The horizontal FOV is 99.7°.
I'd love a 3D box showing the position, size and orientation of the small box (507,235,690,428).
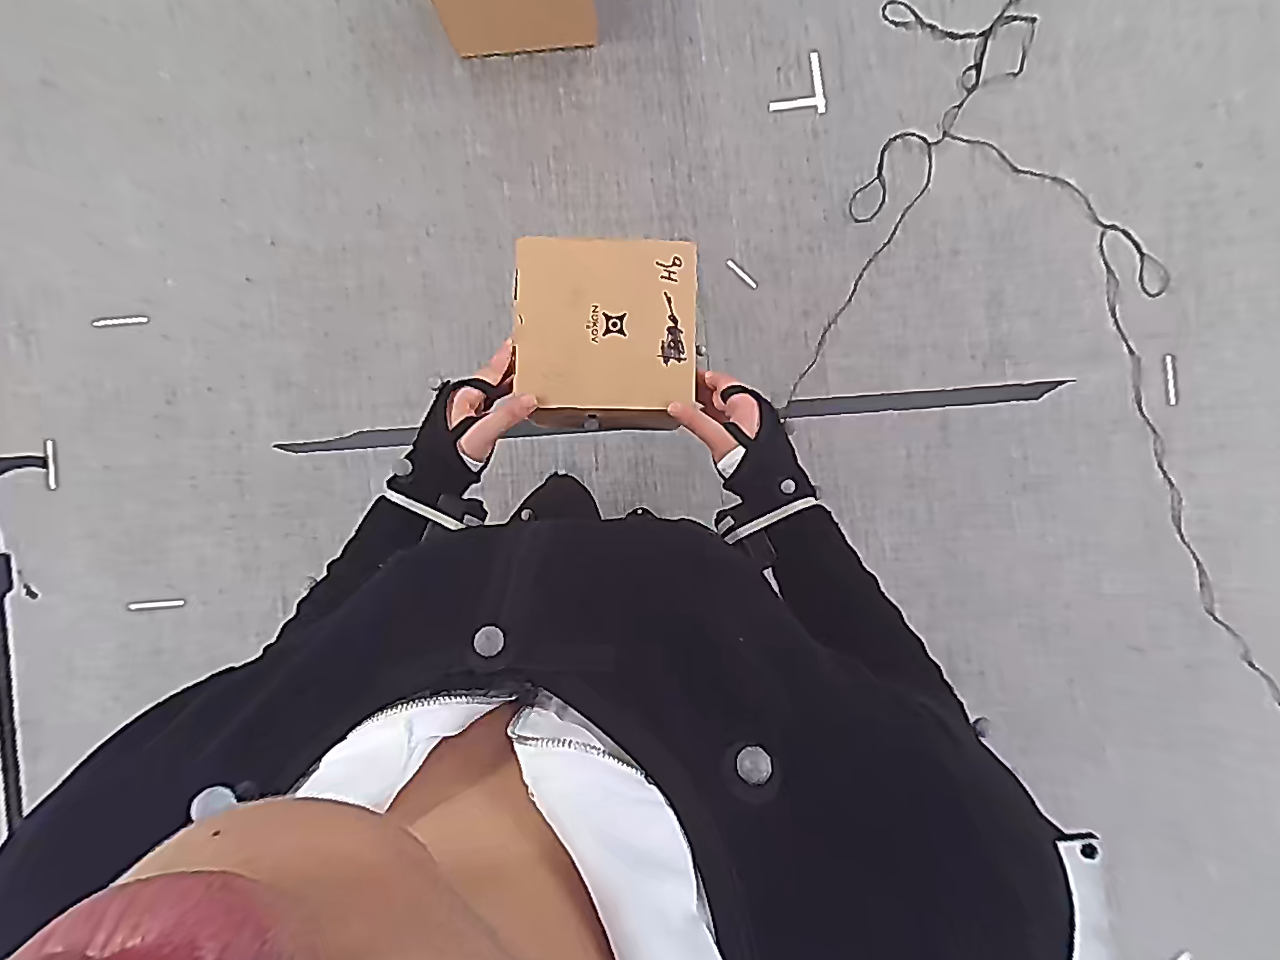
[{"bbox_3d":[-0.040,-0.150,0.600,0.179,0.176,0.168,0,88,-2],"label":"small box"}]
